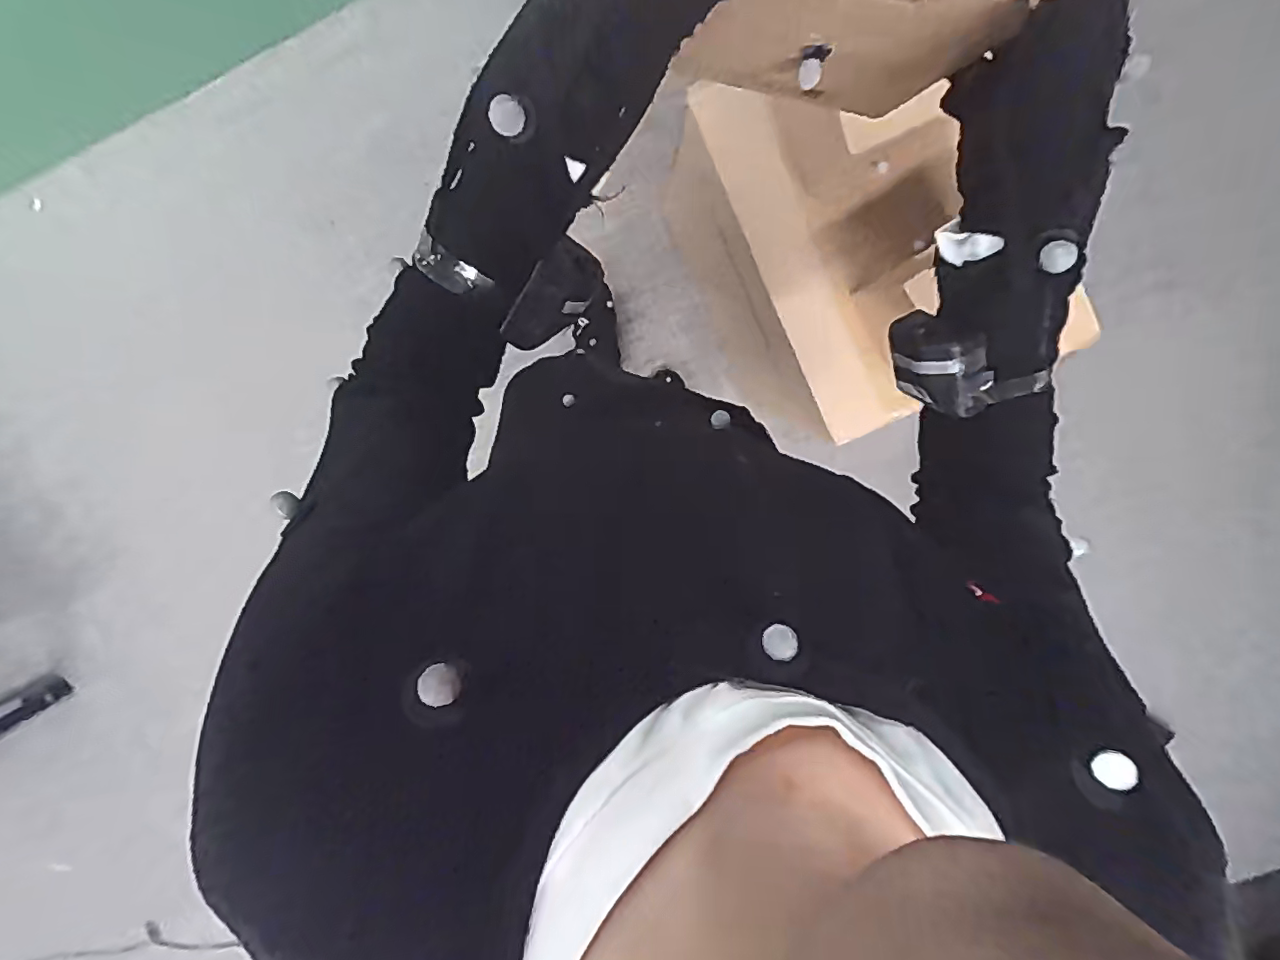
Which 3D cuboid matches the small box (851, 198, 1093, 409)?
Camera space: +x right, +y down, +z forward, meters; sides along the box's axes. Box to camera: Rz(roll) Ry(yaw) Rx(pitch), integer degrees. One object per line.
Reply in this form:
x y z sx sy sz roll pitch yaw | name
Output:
0.401 -0.213 0.684 0.168 0.176 0.179 -32 100 9 | small box

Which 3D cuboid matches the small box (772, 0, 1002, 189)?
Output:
0.265 -0.472 0.620 0.168 0.176 0.179 -21 103 8 | small box
